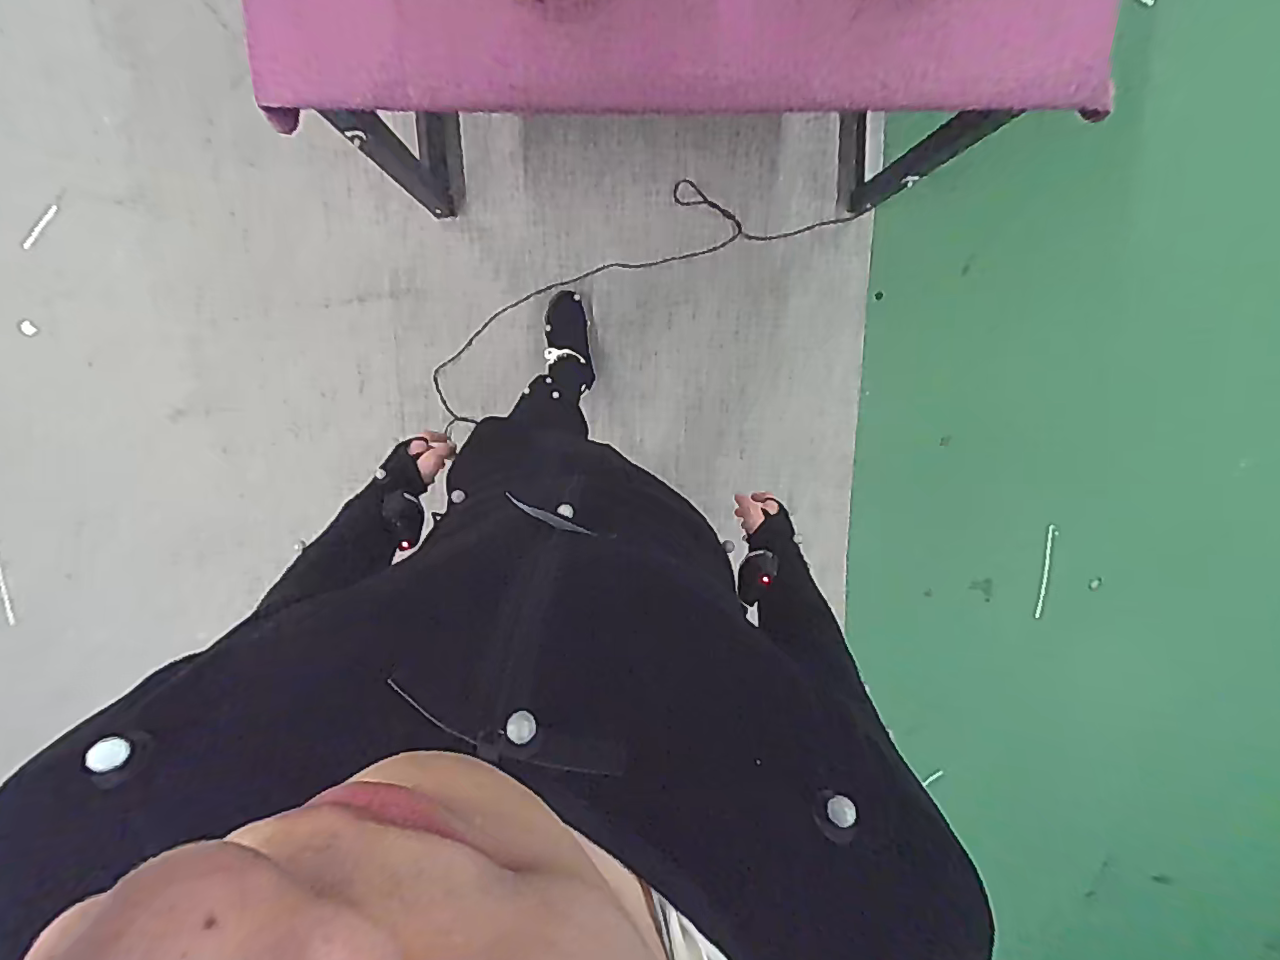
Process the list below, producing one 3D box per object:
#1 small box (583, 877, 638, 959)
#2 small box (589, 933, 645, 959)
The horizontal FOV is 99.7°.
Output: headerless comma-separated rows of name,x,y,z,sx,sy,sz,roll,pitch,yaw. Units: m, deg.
small box,-0.093,1.471,1.794,0.168,0.176,0.179,-6,102,-1
small box,-0.066,1.517,1.636,0.168,0.176,0.179,-5,102,-1
